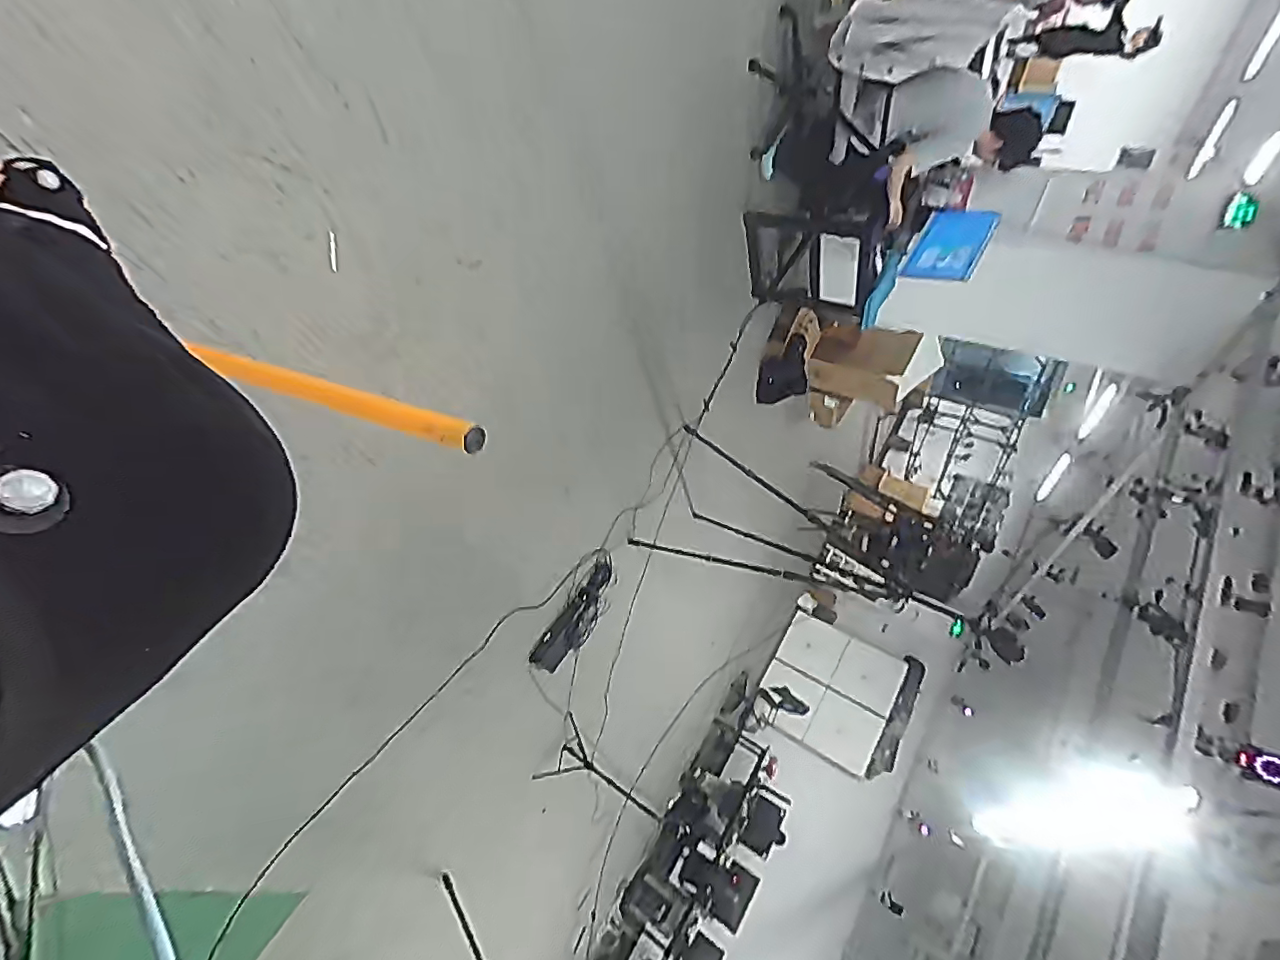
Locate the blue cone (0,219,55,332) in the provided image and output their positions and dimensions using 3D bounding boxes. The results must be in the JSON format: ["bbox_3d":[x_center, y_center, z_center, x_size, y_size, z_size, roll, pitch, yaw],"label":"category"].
[{"bbox_3d":[-1.015,-0.301,0.849,0.193,0.380,0.192,-16,124,-56],"label":"blue cone"}]
